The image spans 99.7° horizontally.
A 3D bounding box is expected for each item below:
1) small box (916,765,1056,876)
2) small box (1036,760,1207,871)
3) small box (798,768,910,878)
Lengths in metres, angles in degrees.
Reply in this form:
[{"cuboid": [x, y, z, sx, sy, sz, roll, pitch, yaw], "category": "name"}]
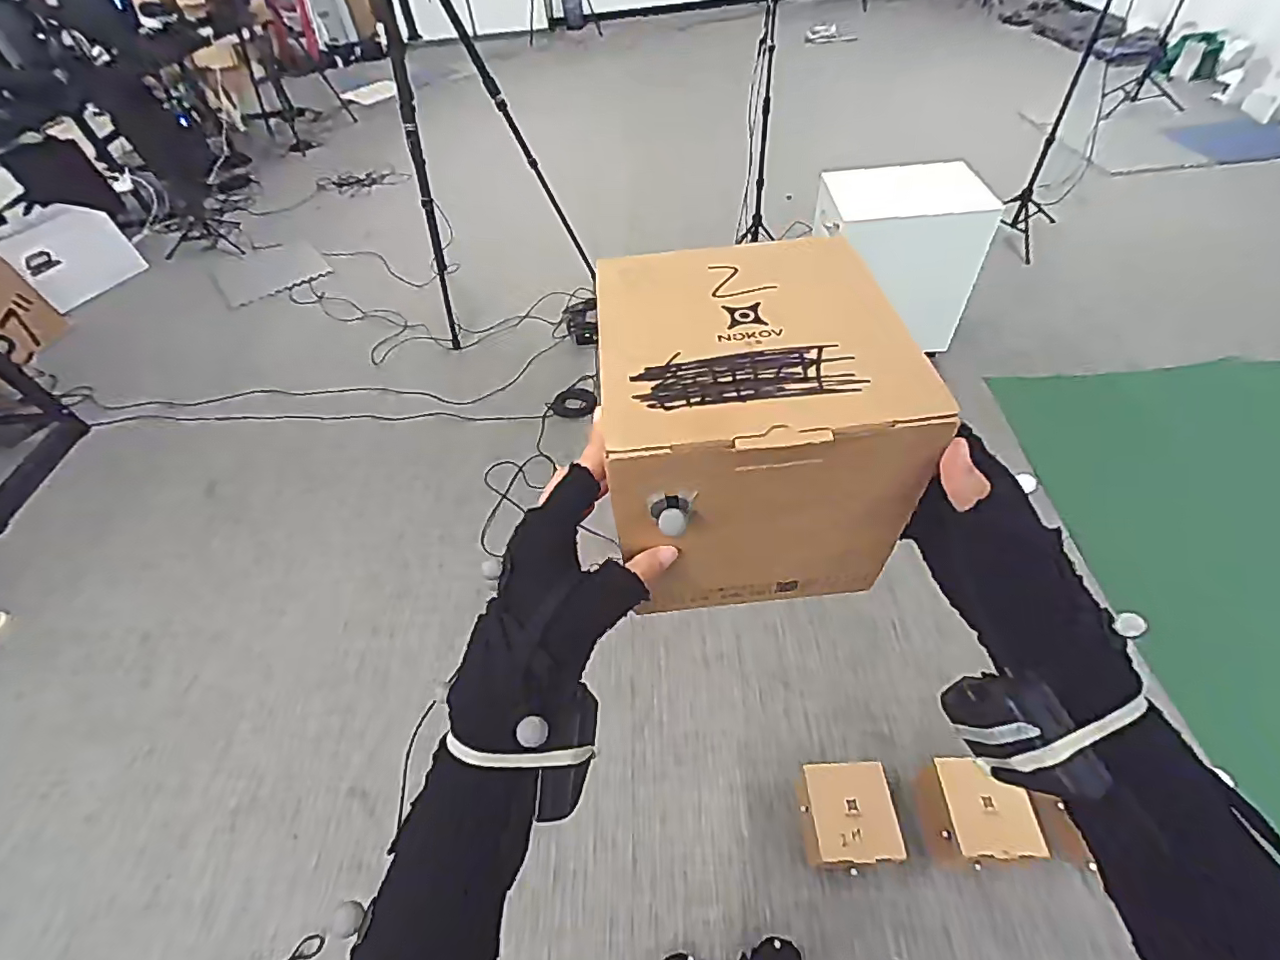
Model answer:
[{"cuboid": [0.709, 0.715, 1.135, 0.168, 0.176, 0.179, -2, 50, 4], "category": "small box"}, {"cuboid": [0.976, 0.698, 1.119, 0.168, 0.176, 0.179, -5, 49, 2], "category": "small box"}, {"cuboid": [0.441, 0.729, 1.147, 0.168, 0.176, 0.179, -4, 50, 4], "category": "small box"}]
